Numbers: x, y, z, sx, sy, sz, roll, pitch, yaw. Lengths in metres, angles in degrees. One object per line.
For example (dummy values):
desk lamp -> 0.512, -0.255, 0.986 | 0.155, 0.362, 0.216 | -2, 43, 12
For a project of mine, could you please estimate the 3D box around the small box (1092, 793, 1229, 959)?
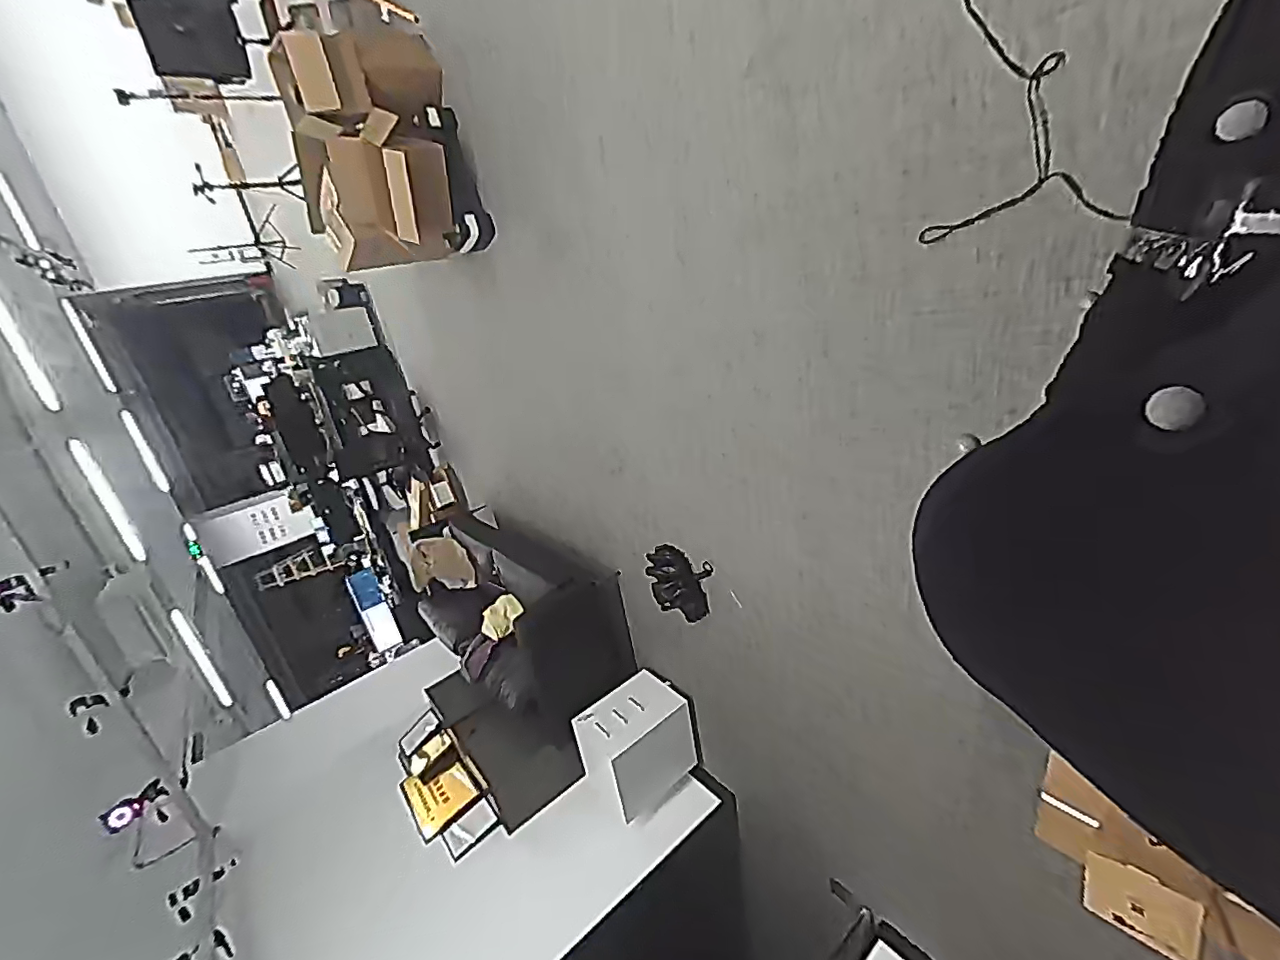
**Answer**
small box -> 1.028, 0.771, 1.070 | 0.168, 0.176, 0.179 | 11, 119, 52
